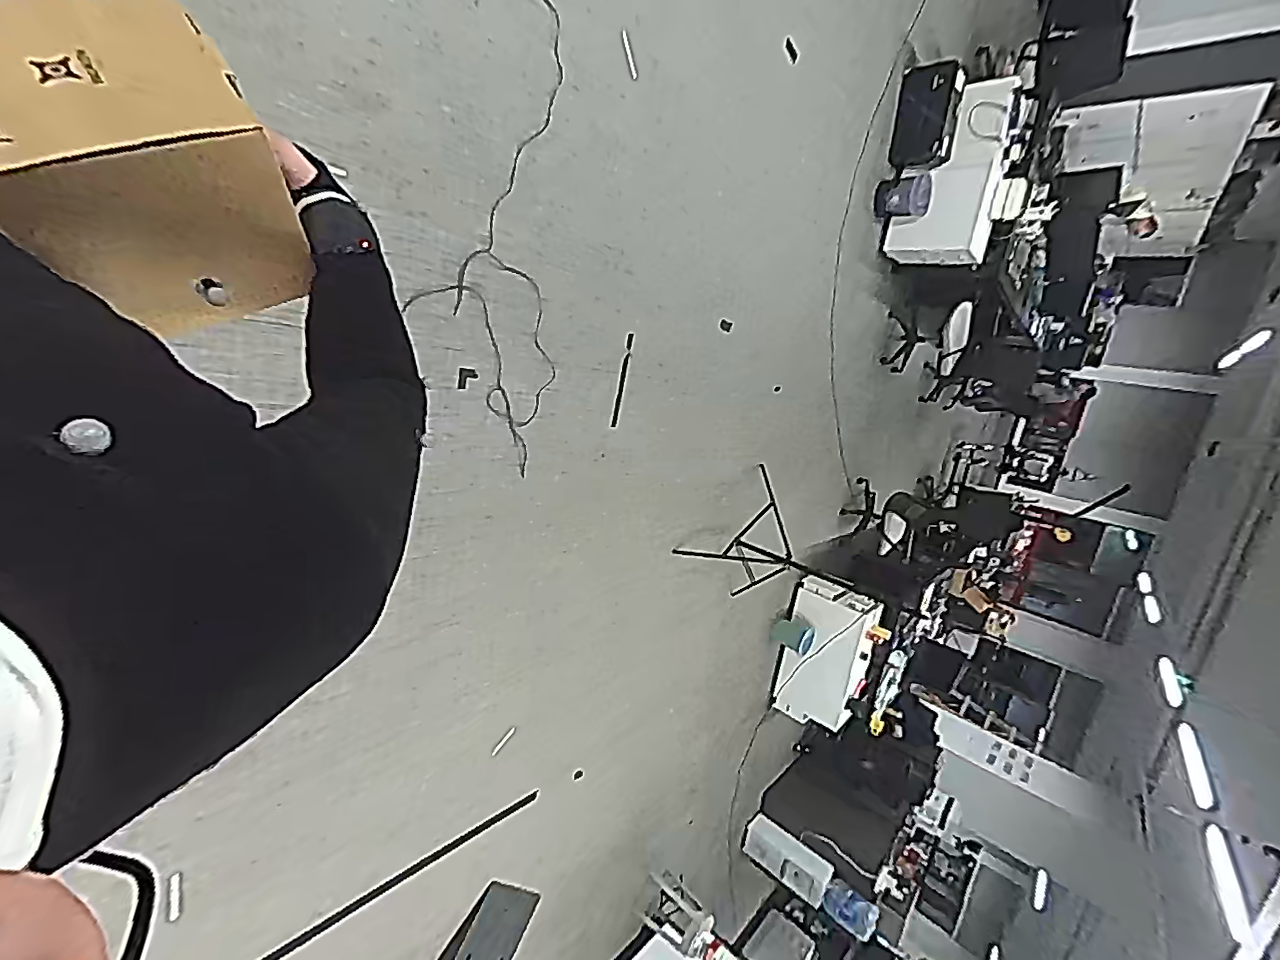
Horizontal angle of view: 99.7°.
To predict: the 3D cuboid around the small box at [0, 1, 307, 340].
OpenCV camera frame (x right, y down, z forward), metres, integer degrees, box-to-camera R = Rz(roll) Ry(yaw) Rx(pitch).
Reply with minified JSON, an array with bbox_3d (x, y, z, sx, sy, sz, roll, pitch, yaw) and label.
[{"bbox_3d":[-0.412,-0.251,0.456,0.179,0.168,0.176,-31,167,-26],"label":"small box"}]
